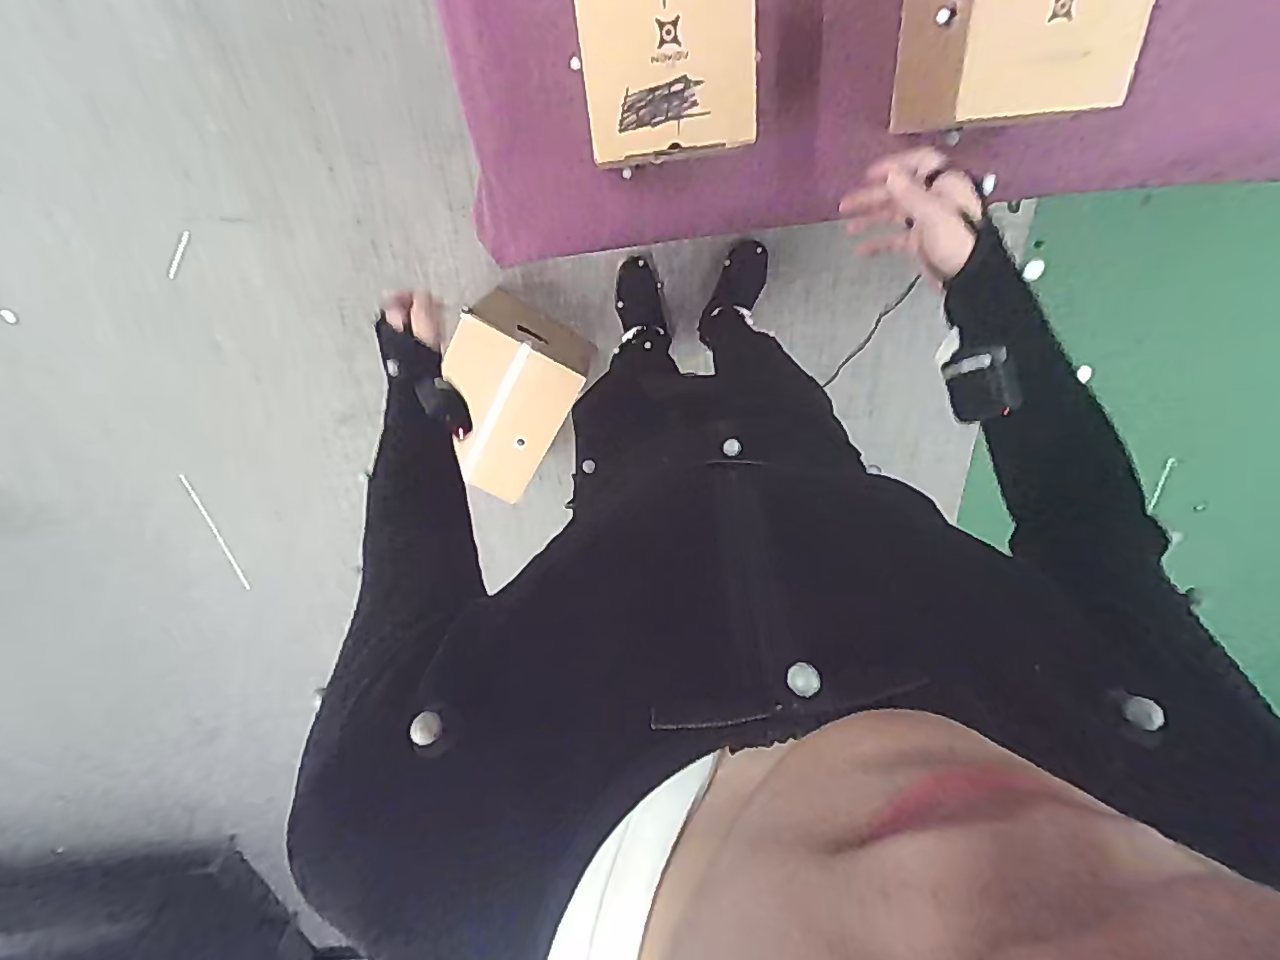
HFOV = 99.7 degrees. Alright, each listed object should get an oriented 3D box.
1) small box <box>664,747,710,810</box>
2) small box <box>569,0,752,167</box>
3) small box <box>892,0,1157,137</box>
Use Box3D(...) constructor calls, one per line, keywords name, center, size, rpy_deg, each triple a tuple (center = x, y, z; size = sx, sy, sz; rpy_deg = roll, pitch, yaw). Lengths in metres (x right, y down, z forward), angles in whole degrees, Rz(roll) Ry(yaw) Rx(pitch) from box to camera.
Box3D(name="small box", center=(0.195, 1.258, 2.285), size=(0.179, 0.176, 0.168), rpy_deg=(-8, 118, 3))
Box3D(name="small box", center=(0.022, -0.438, 0.569), size=(0.168, 0.176, 0.179), rpy_deg=(-6, 117, 2))
Box3D(name="small box", center=(0.383, -0.470, 0.558), size=(0.168, 0.176, 0.179), rpy_deg=(-3, 118, 2))
